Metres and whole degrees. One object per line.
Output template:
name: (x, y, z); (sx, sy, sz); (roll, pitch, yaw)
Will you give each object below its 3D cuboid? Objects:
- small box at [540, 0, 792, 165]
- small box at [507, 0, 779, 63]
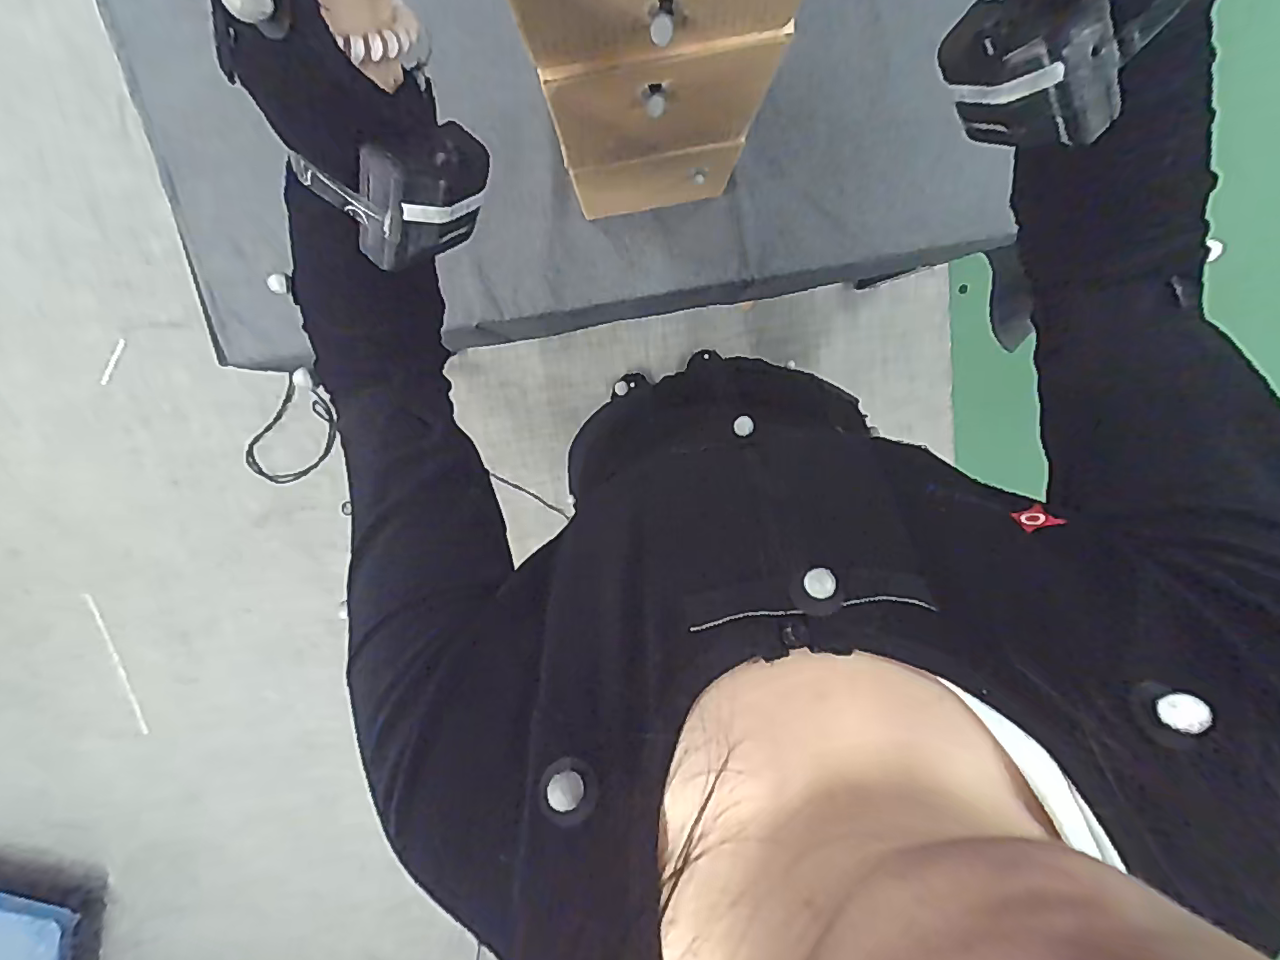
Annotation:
small box: (0.005, -0.380, 0.432); (0.179, 0.176, 0.168); (-10, 101, 2)
small box: (0.001, -0.352, 0.269); (0.179, 0.176, 0.168); (-8, 101, 2)
